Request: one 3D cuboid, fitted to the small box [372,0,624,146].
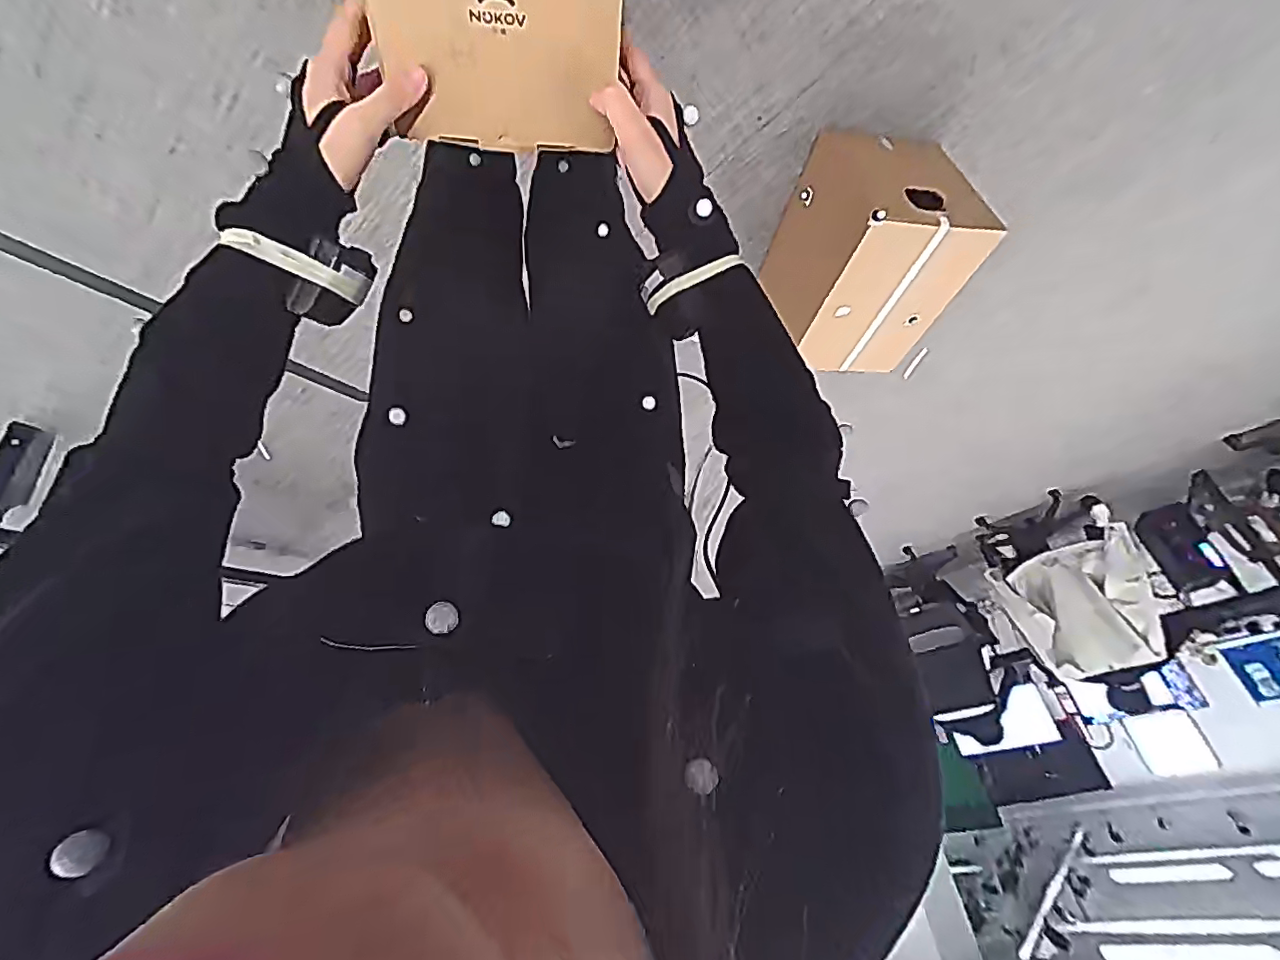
[{"bbox_3d":[-0.095,-0.379,0.392,0.168,0.176,0.179,0,145,-7],"label":"small box"}]

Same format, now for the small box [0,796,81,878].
[{"bbox_3d":[-1.661,0.963,1.460,0.179,0.176,0.168,-32,144,30],"label":"small box"}]
